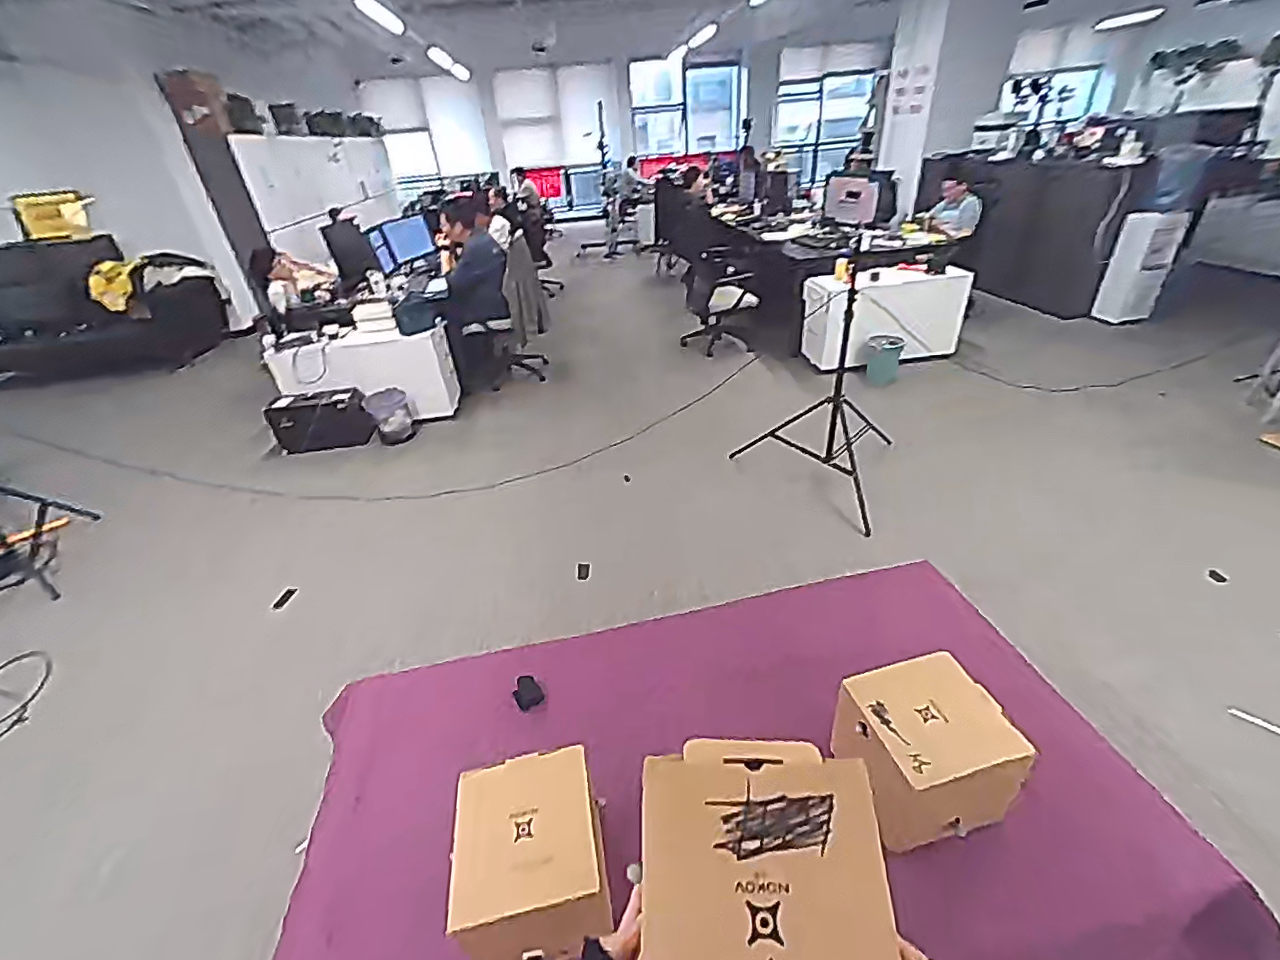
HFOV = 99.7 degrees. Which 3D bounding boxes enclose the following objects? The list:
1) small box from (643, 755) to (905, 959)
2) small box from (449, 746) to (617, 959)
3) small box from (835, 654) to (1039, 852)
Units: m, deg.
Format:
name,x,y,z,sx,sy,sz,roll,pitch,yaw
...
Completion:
name,x,y,z,sx,sy,sz,roll,pitch,yaw
small box,0.089,0.323,0.420,0.168,0.176,0.179,-1,57,5
small box,-0.129,0.480,0.684,0.168,0.176,0.179,-11,34,-7
small box,0.399,0.381,0.762,0.179,0.176,0.168,-11,32,-9
